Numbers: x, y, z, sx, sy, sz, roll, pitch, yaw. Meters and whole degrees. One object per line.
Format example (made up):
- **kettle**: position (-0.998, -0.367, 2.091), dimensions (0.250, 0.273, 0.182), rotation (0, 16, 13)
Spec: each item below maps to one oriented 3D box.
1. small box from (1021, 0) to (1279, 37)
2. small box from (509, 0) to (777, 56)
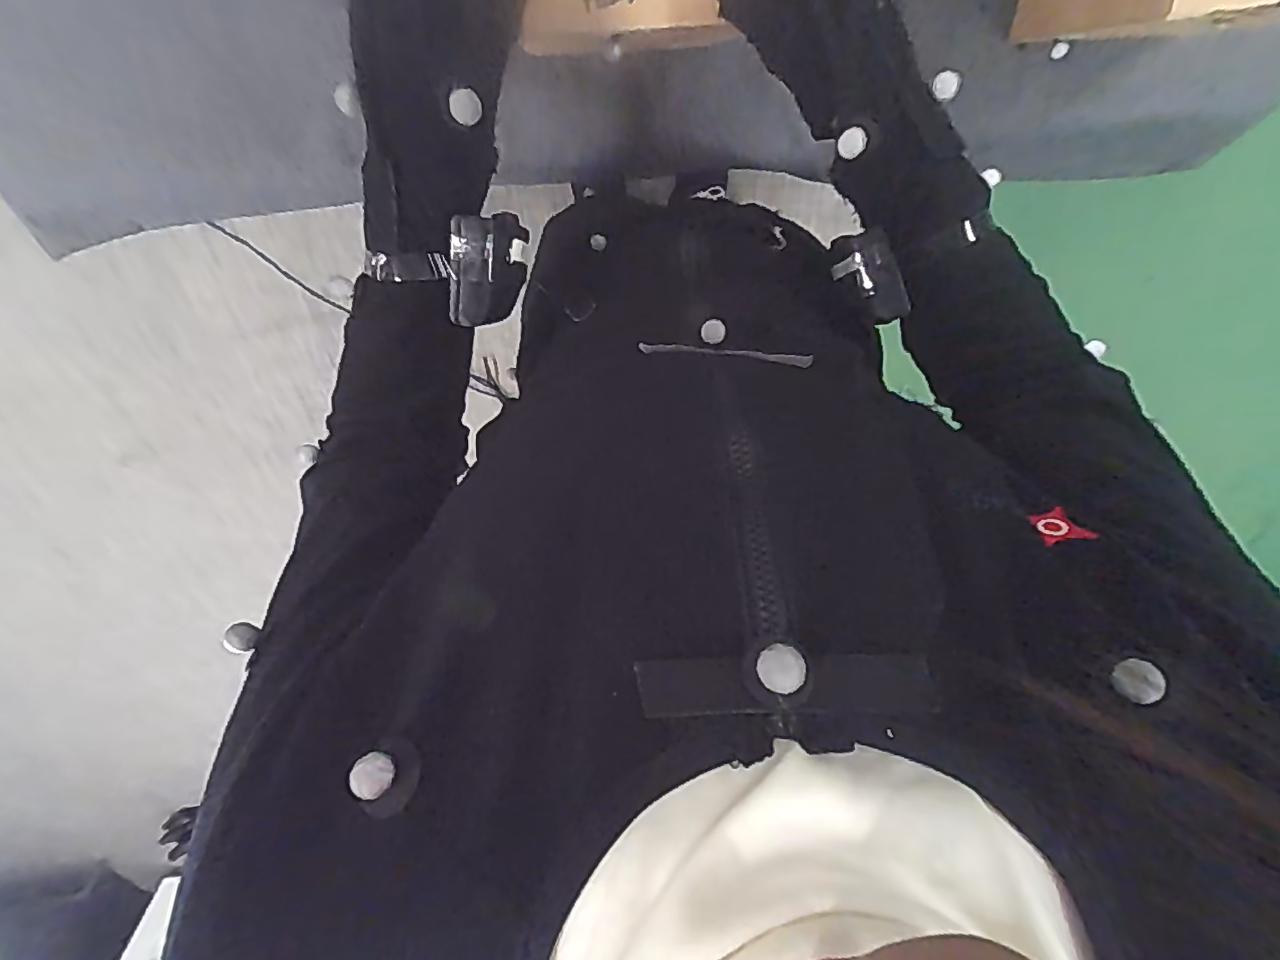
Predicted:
- **small box**: position (0.411, -0.424, 0.372), dimensions (0.168, 0.176, 0.179), rotation (-5, 124, -2)
- **small box**: position (-0.008, -0.394, 0.349), dimensions (0.168, 0.176, 0.179), rotation (-5, 126, -3)
